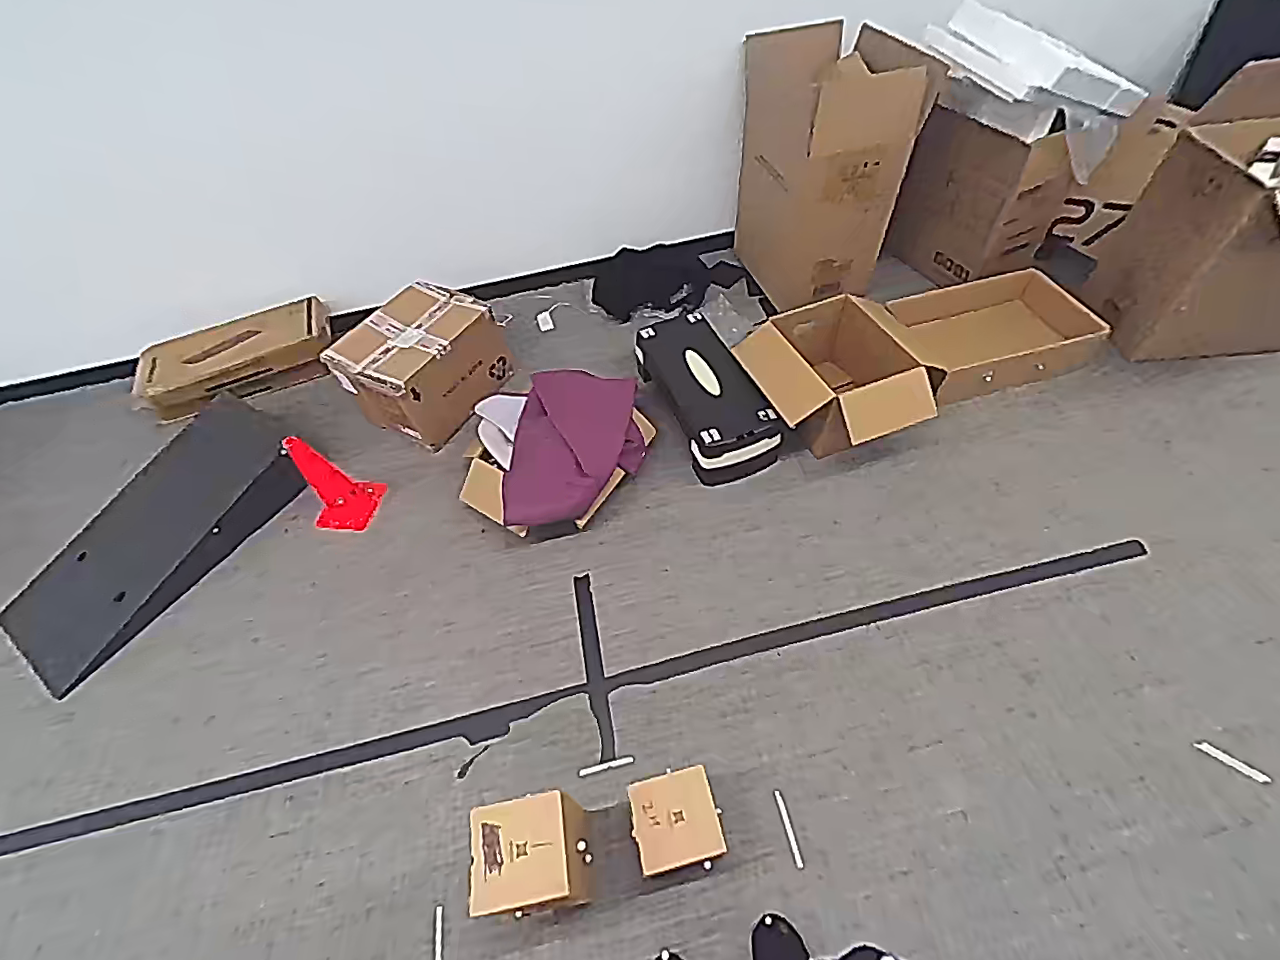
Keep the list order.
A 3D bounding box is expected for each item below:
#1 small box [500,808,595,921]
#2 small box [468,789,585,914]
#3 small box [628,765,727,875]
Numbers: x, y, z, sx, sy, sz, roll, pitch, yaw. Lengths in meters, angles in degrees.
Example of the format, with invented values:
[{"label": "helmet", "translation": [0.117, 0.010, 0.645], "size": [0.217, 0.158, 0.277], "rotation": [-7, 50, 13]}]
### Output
[{"label": "small box", "translation": [-0.197, 0.814, 1.162], "size": [0.168, 0.176, 0.179], "rotation": [-12, 54, -1]}, {"label": "small box", "translation": [-0.213, 0.711, 1.033], "size": [0.179, 0.176, 0.168], "rotation": [-11, 53, -2]}, {"label": "small box", "translation": [0.080, 0.743, 1.182], "size": [0.179, 0.176, 0.168], "rotation": [-14, 53, -3]}]
